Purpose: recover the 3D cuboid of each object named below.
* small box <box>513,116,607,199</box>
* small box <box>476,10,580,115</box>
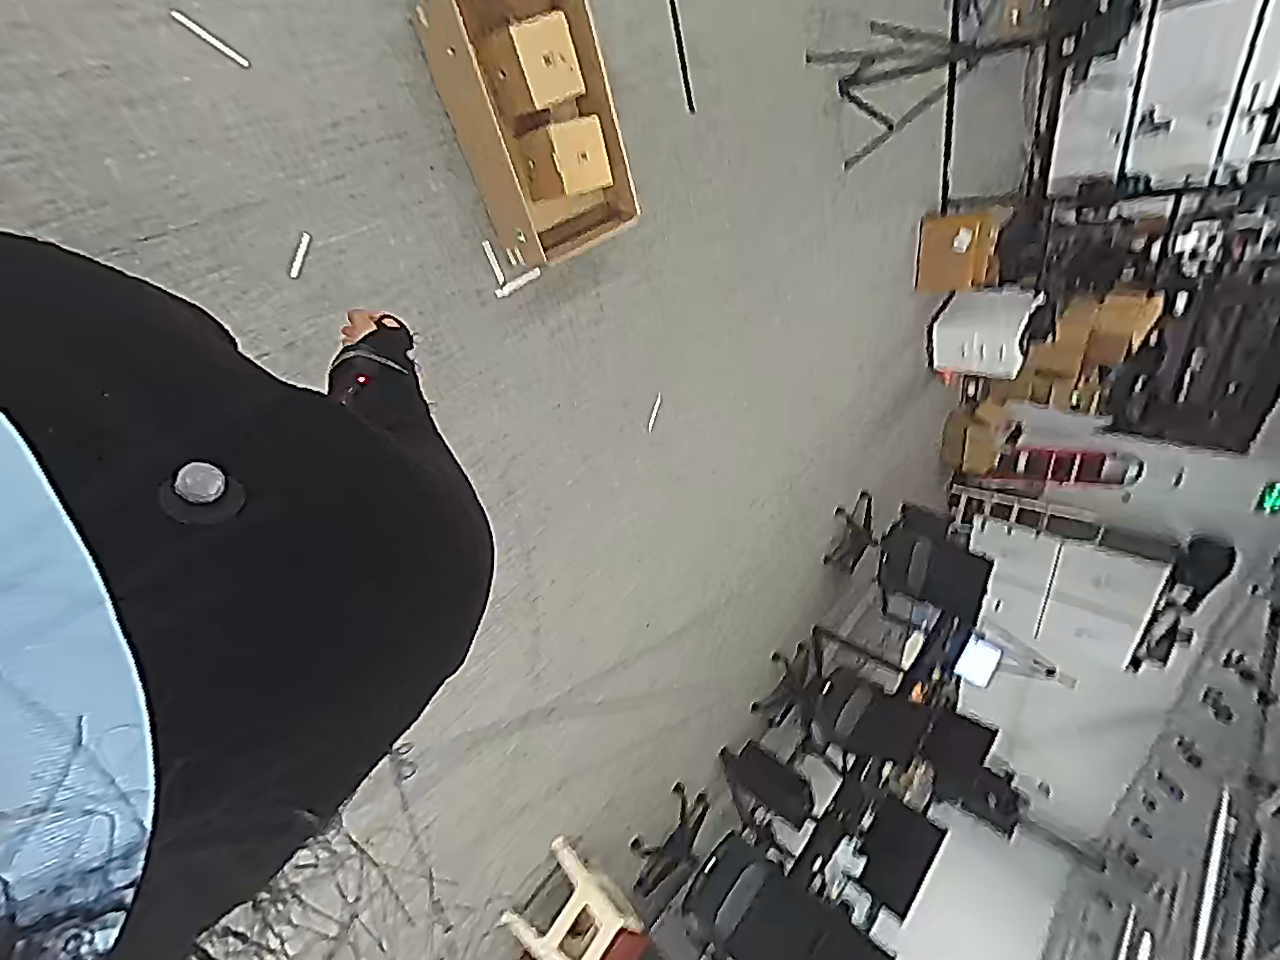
[{"bbox_3d":[-0.223,-0.898,1.510,0.179,0.176,0.168,-36,128,-32],"label":"small box"},{"bbox_3d":[-0.289,-1.054,1.373,0.179,0.176,0.168,-42,134,-27],"label":"small box"}]
